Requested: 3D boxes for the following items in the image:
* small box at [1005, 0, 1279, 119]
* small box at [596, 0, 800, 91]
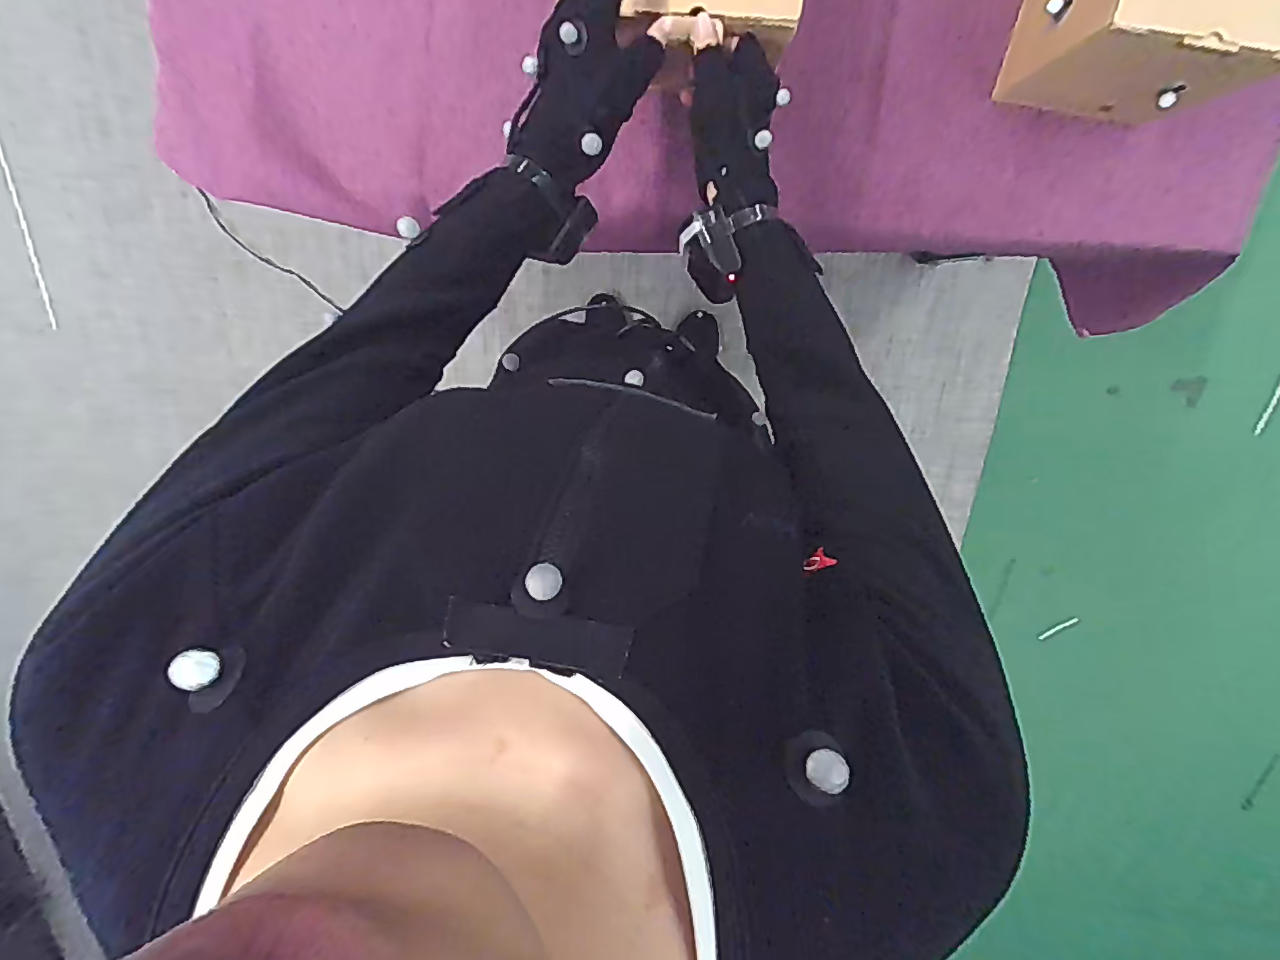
[{"bbox_3d":[0.462,-0.443,0.467,0.168,0.176,0.179,10,109,0],"label":"small box"},{"bbox_3d":[0.058,-0.476,0.481,0.168,0.176,0.179,5,110,1],"label":"small box"}]
